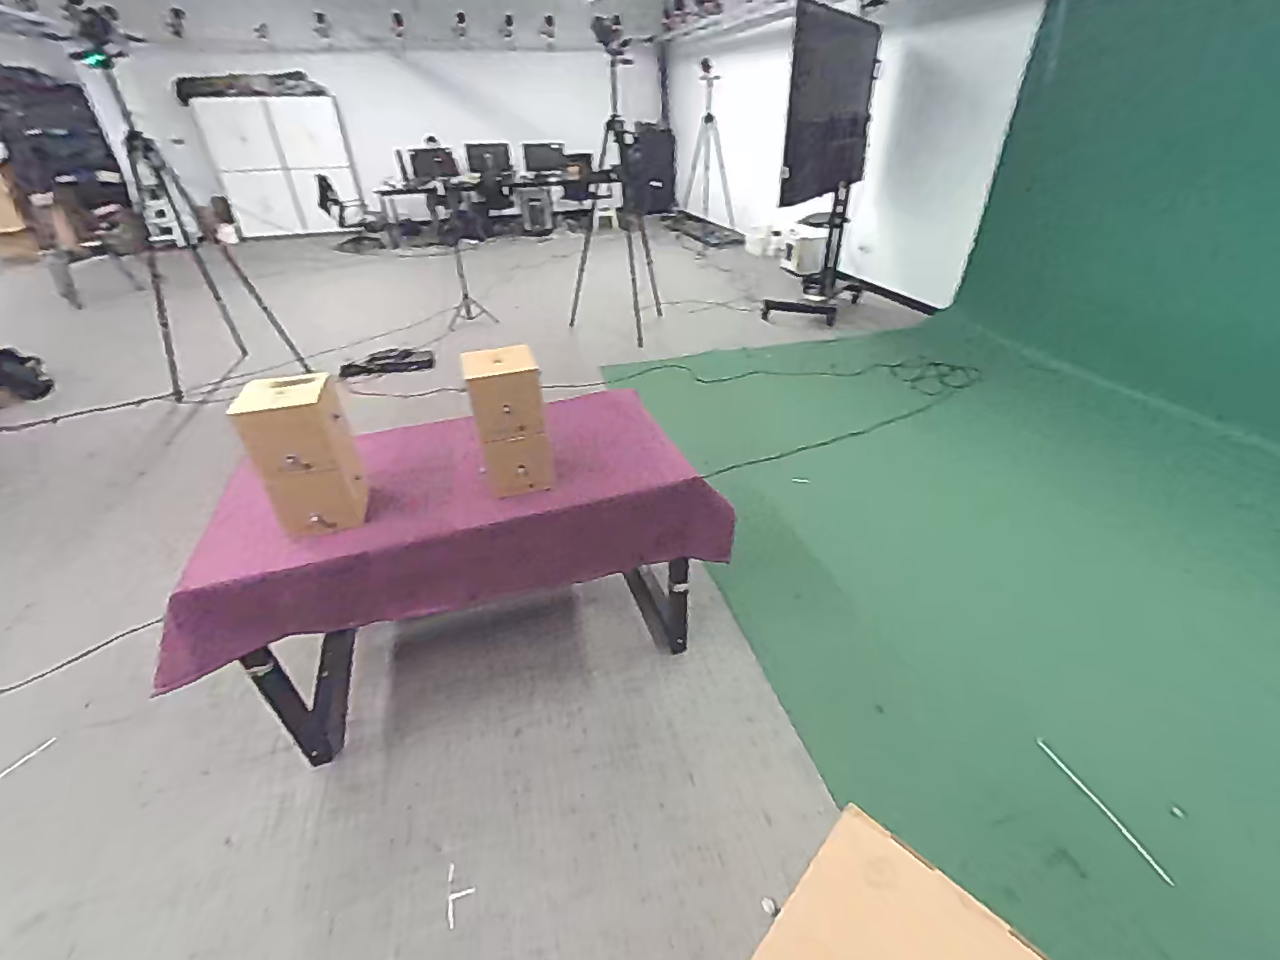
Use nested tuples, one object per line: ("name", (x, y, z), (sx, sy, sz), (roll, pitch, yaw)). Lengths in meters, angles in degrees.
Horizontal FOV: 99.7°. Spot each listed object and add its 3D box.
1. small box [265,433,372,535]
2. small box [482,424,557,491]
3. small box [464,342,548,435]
("small box", (-0.763, 0.008, 1.305), (0.168, 0.176, 0.179), (-11, 36, -13))
("small box", (-0.320, -0.084, 1.420), (0.168, 0.176, 0.179), (-11, 36, -14))
("small box", (-0.328, -0.220, 1.326), (0.168, 0.176, 0.179), (-11, 35, -14))
